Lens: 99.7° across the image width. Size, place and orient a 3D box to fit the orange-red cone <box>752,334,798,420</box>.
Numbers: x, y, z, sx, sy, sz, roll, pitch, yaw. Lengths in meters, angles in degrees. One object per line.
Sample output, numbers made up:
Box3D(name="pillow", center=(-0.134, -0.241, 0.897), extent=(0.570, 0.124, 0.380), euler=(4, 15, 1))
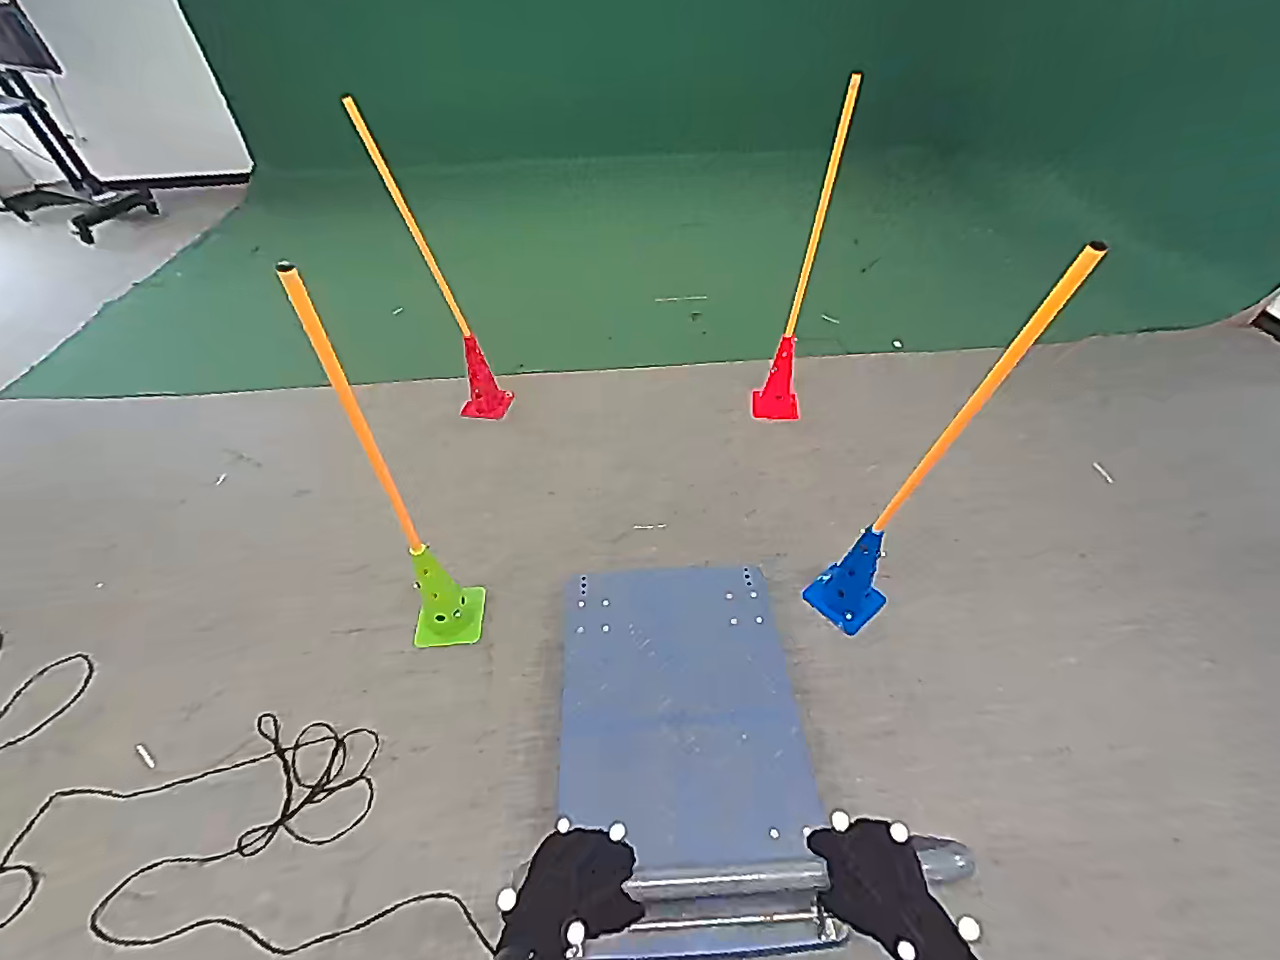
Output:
Box3D(name="orange-red cone", center=(0.594, -0.449, 2.284), extent=(0.198, 0.360, 0.199), euler=(4, 47, 7))
